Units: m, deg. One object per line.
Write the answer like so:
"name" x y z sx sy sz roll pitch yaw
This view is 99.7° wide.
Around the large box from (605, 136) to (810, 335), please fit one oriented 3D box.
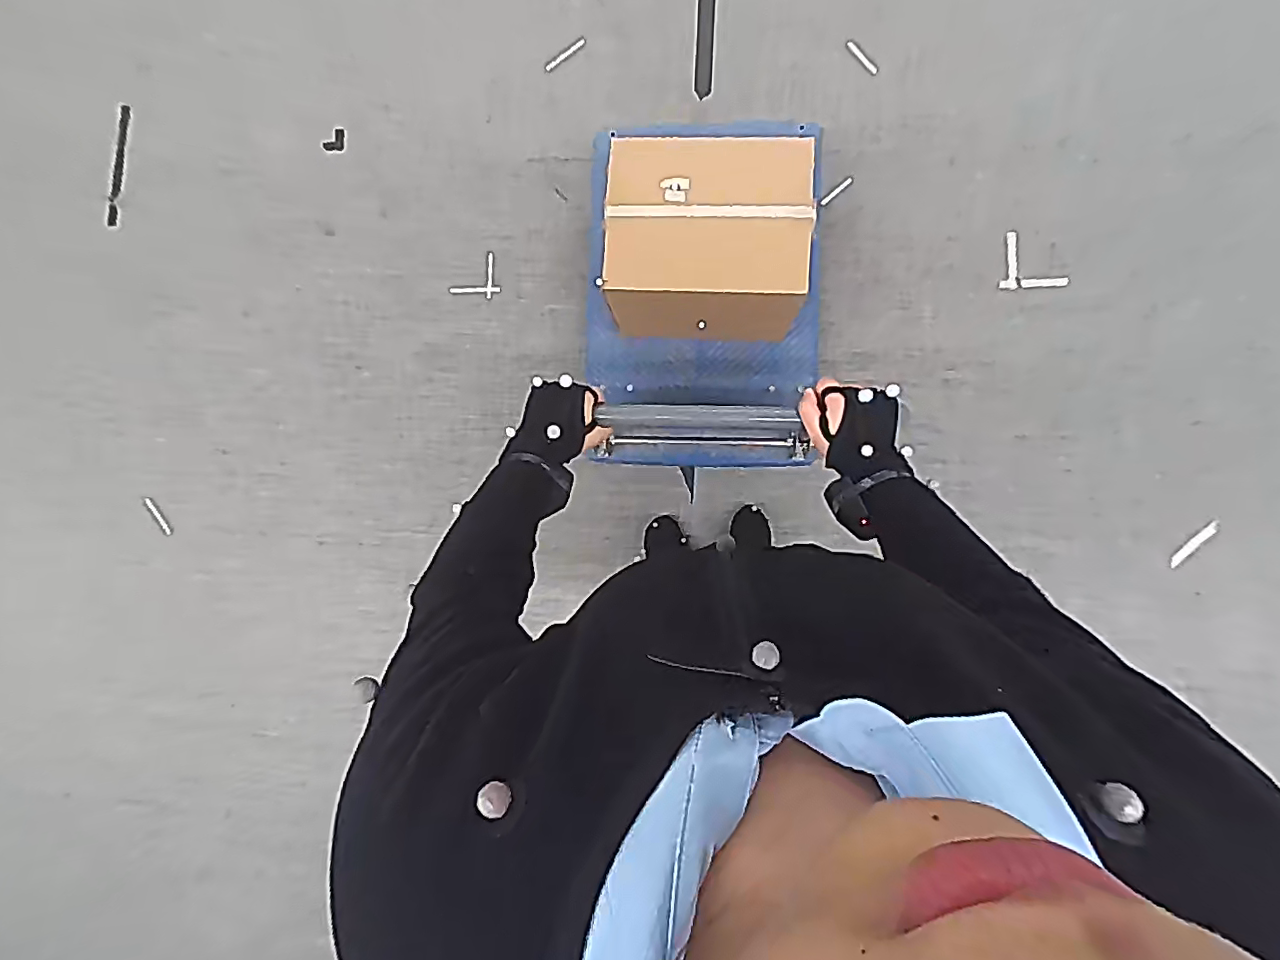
"large box" 0.150 -0.524 1.223 0.408 0.320 0.320 3 87 6
